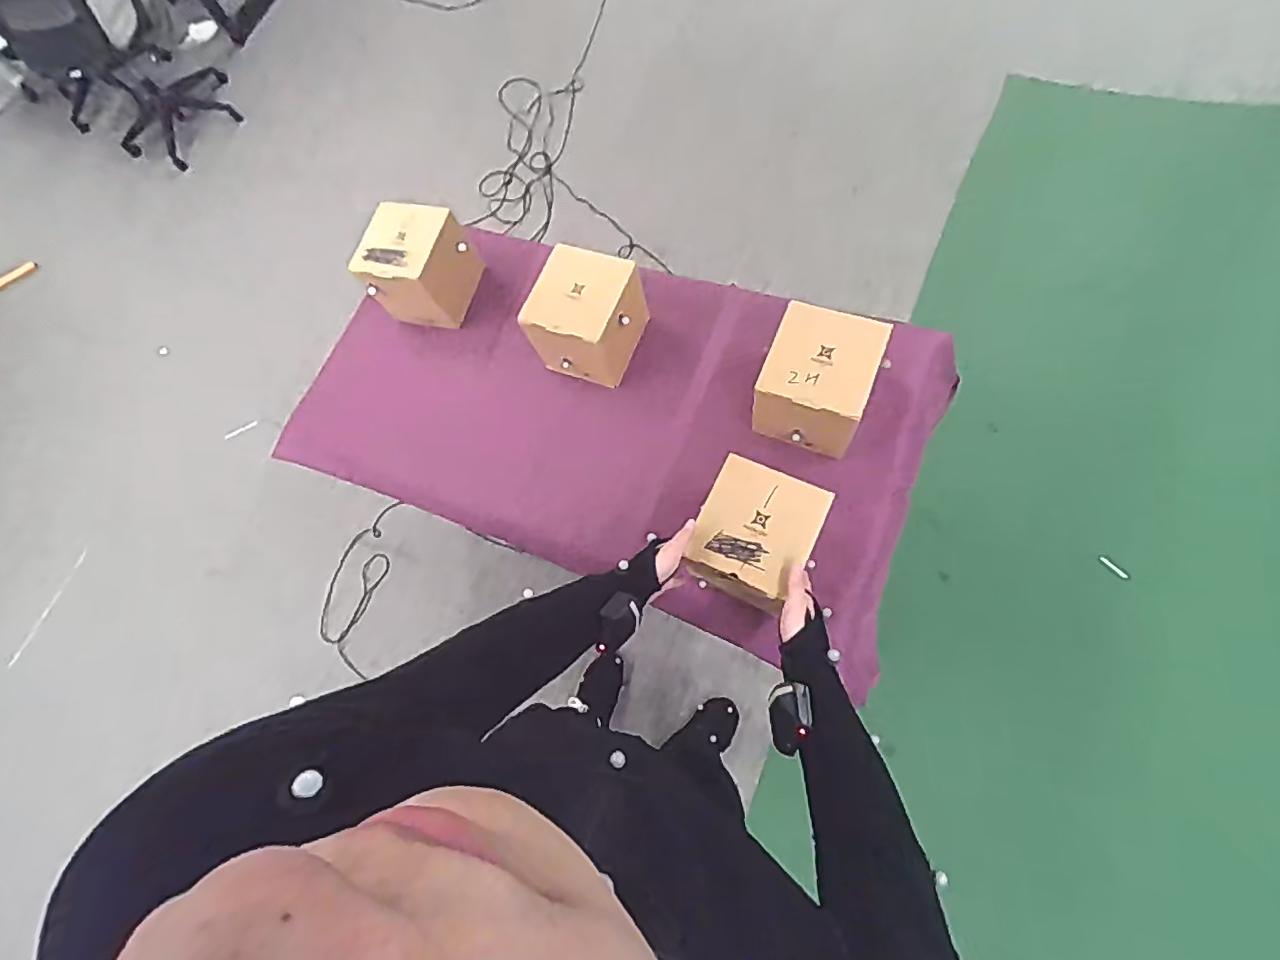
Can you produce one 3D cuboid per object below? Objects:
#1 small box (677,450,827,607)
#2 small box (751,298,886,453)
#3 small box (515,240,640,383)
[{"bbox_3d":[0.176,0.086,0.856,0.168,0.176,0.179,23,75,16],"label":"small box"},{"bbox_3d":[0.293,-0.172,0.924,0.168,0.176,0.179,20,77,16],"label":"small box"},{"bbox_3d":[-0.108,-0.316,1.036,0.168,0.176,0.179,19,77,14],"label":"small box"}]
